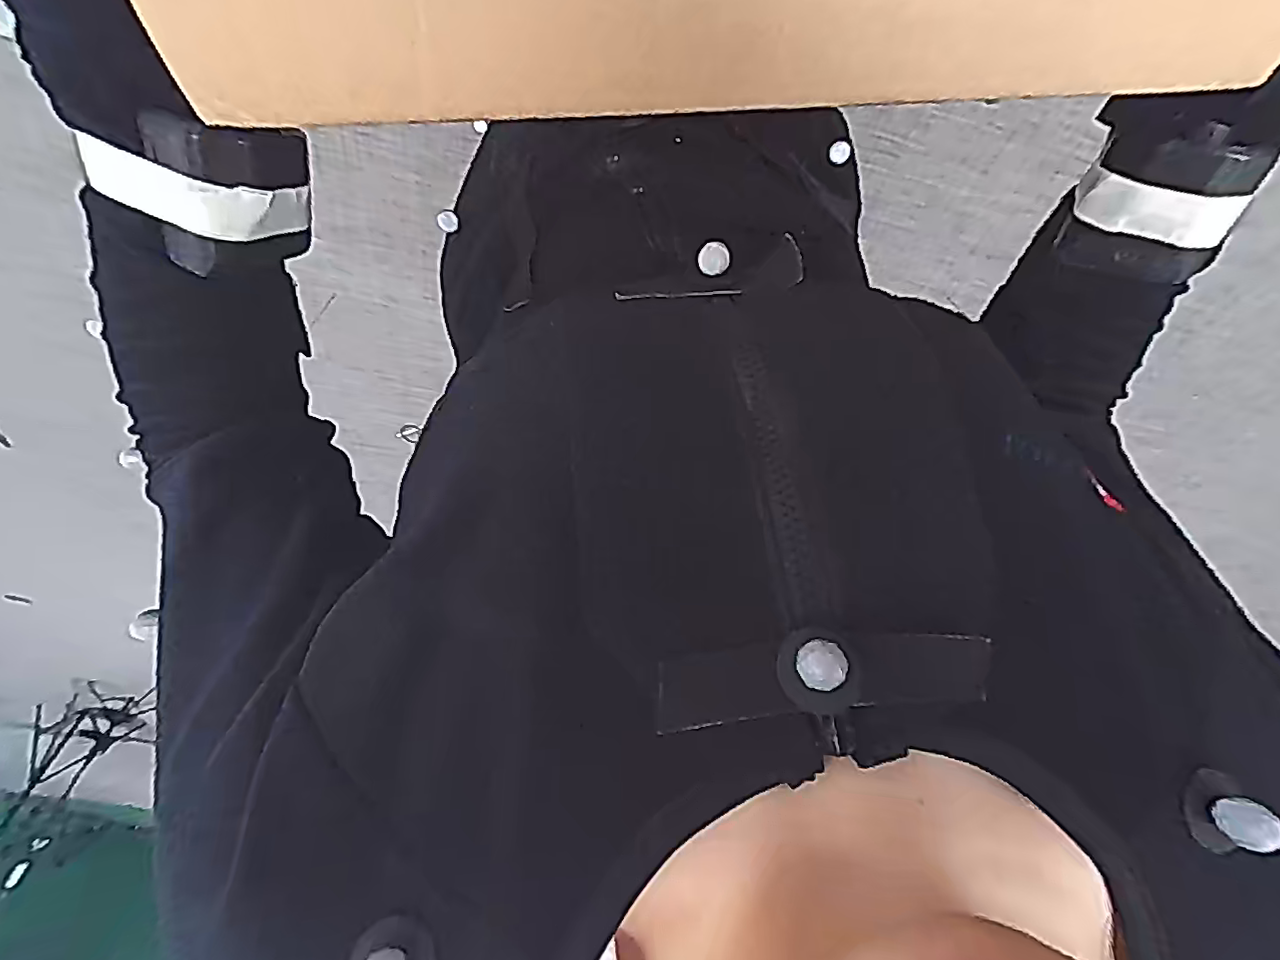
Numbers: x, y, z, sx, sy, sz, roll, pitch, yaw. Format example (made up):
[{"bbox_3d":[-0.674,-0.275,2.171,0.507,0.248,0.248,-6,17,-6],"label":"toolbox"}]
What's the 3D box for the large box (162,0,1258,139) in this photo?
[{"bbox_3d":[0.024,-0.361,0.197,0.408,0.320,0.320,-4,139,-3],"label":"large box"}]
